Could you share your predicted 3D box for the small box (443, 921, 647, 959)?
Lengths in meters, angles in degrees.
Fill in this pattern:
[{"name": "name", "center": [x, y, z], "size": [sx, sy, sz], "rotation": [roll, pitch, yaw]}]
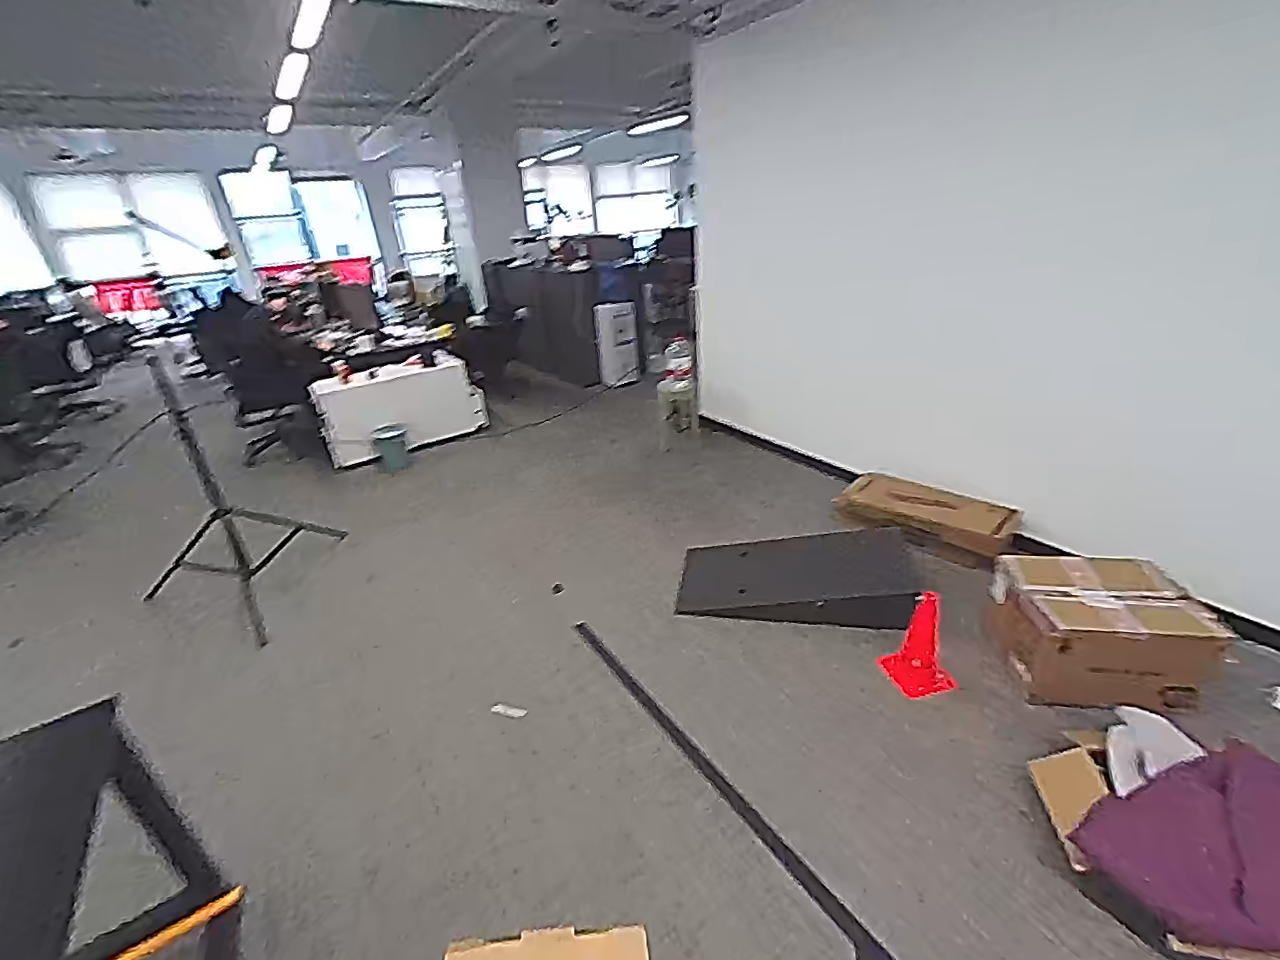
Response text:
[{"name": "small box", "center": [-0.075, 0.486, 0.409], "size": [0.168, 0.176, 0.179], "rotation": [1, 28, -10]}]
